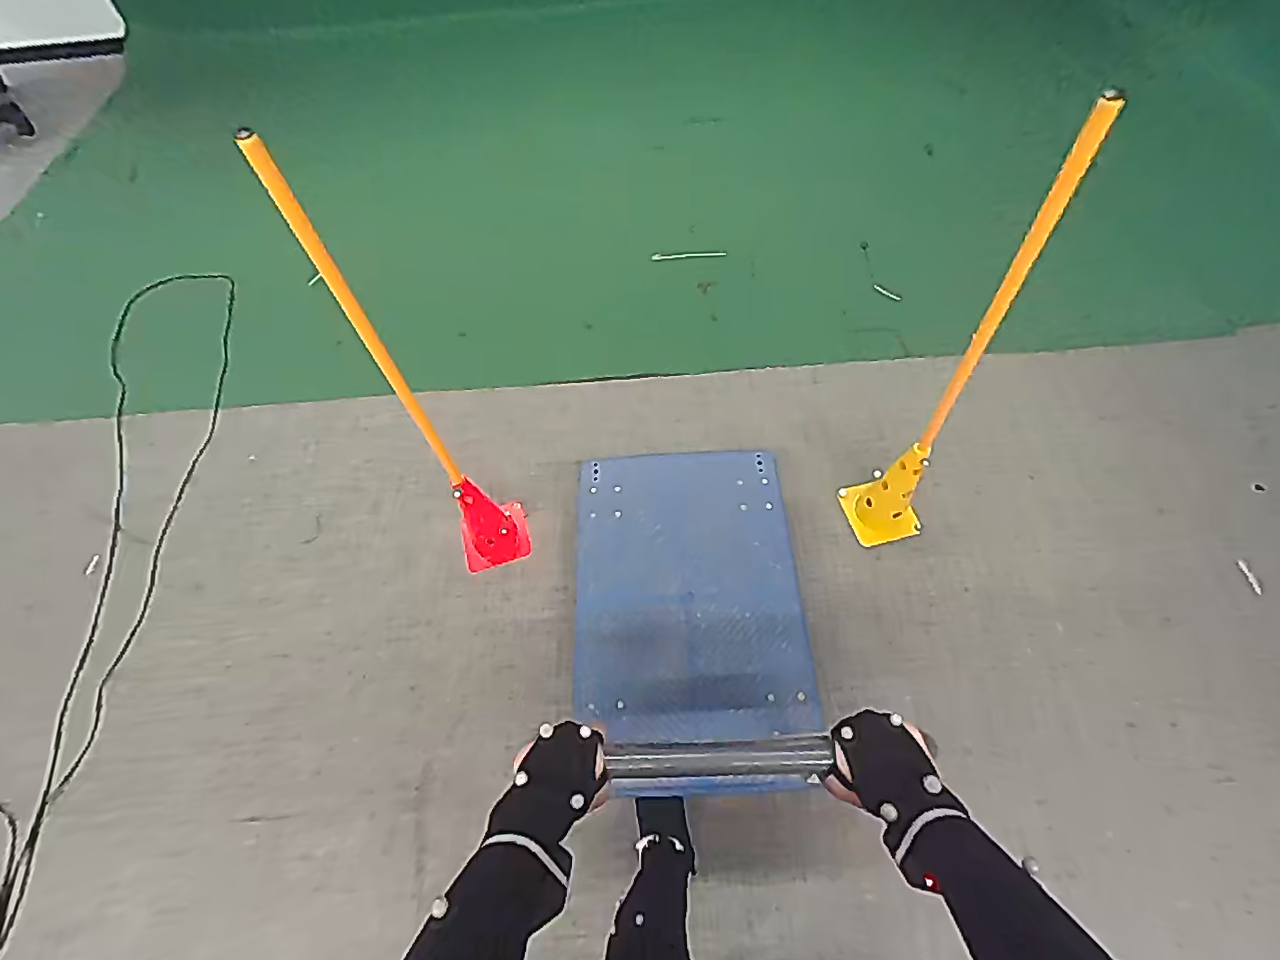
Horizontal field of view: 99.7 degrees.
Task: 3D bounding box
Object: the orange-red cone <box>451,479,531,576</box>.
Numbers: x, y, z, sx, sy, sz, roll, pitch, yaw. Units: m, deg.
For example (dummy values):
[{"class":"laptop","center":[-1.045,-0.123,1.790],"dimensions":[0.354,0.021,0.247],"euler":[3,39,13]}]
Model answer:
[{"class":"orange-red cone","center":[-0.457,0.103,1.528],"dimensions":[0.199,0.360,0.198],"euler":[-17,60,-5]}]
